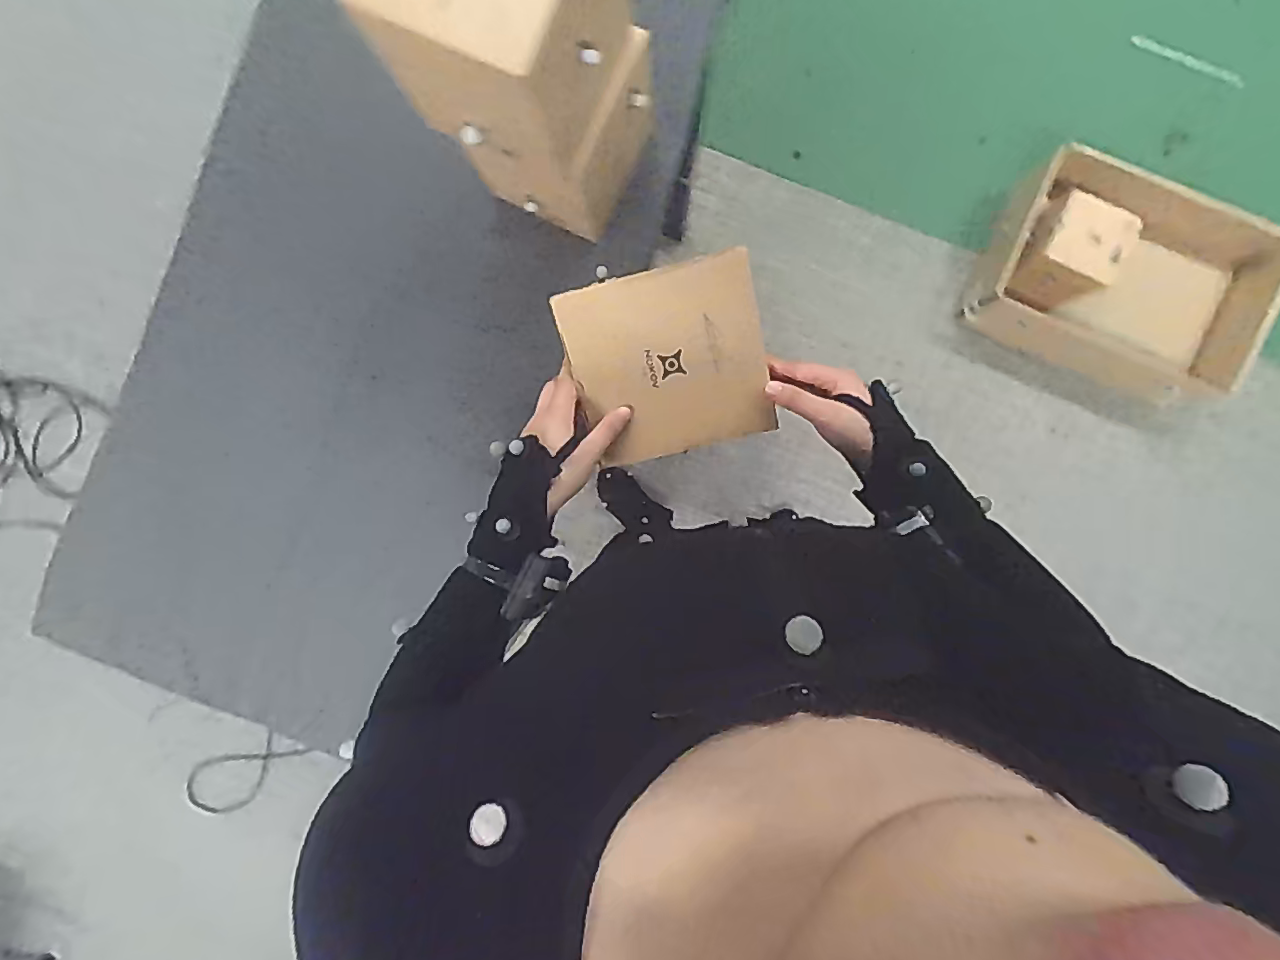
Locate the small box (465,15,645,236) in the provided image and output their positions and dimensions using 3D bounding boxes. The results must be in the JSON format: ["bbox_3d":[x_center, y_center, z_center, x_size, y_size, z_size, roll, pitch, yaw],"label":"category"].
[{"bbox_3d":[-0.103,-0.434,0.648,0.168,0.176,0.179,26,93,2],"label":"small box"}]

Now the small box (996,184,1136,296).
[{"bbox_3d":[1.019,-0.571,1.311,0.179,0.176,0.168,24,93,0],"label":"small box"}]

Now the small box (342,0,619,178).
[{"bbox_3d":[-0.126,-0.420,0.486,0.168,0.176,0.179,25,94,2],"label":"small box"}]
